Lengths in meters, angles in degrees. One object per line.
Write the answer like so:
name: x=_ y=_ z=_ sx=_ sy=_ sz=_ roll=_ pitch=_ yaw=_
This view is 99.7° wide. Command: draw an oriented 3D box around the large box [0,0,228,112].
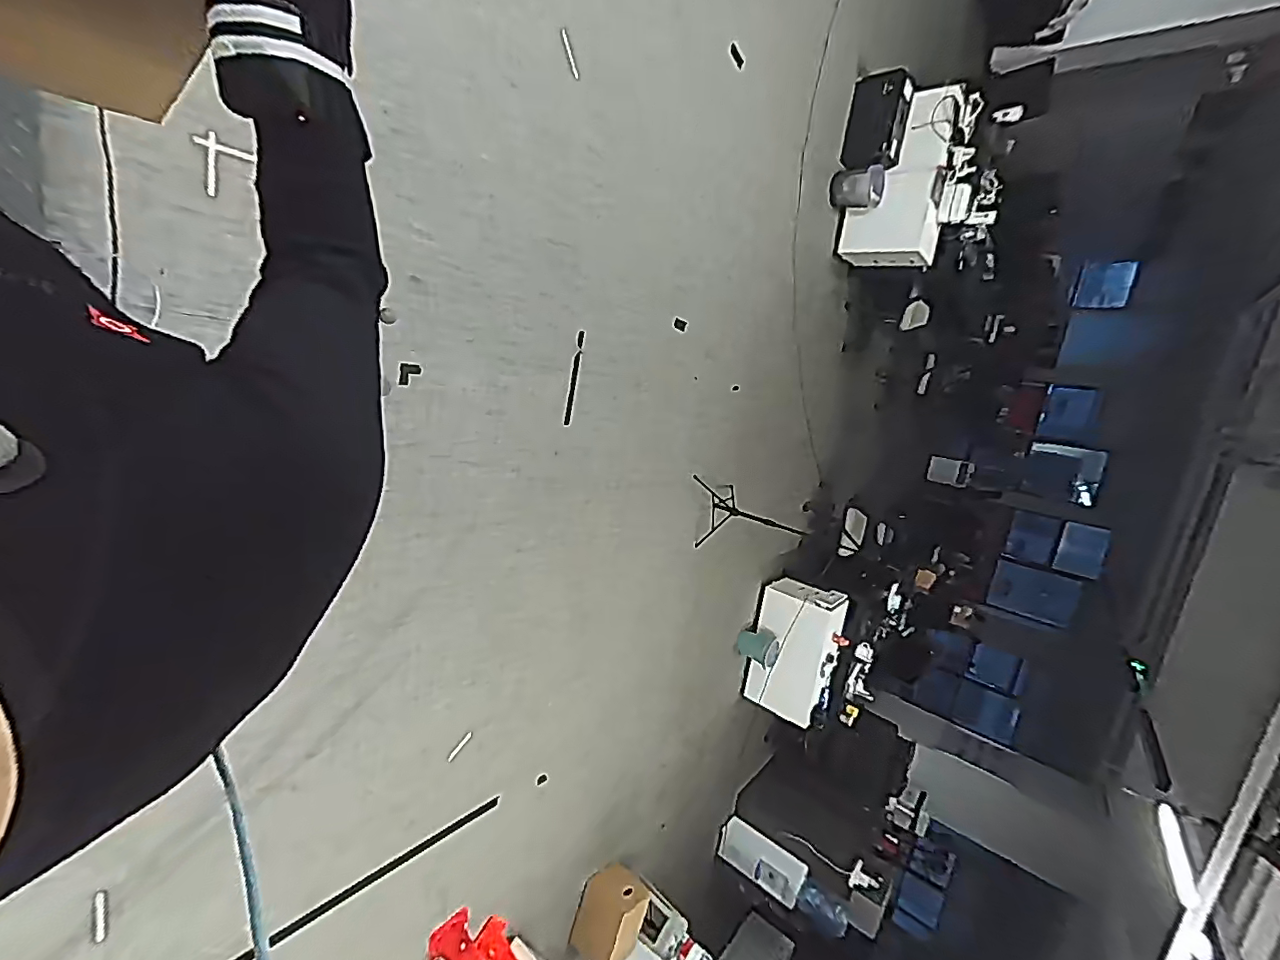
large box: x=-0.486 y=-0.460 z=0.260 sx=0.408 sy=0.320 sz=0.320 roll=-11 pitch=106 yaw=-49
